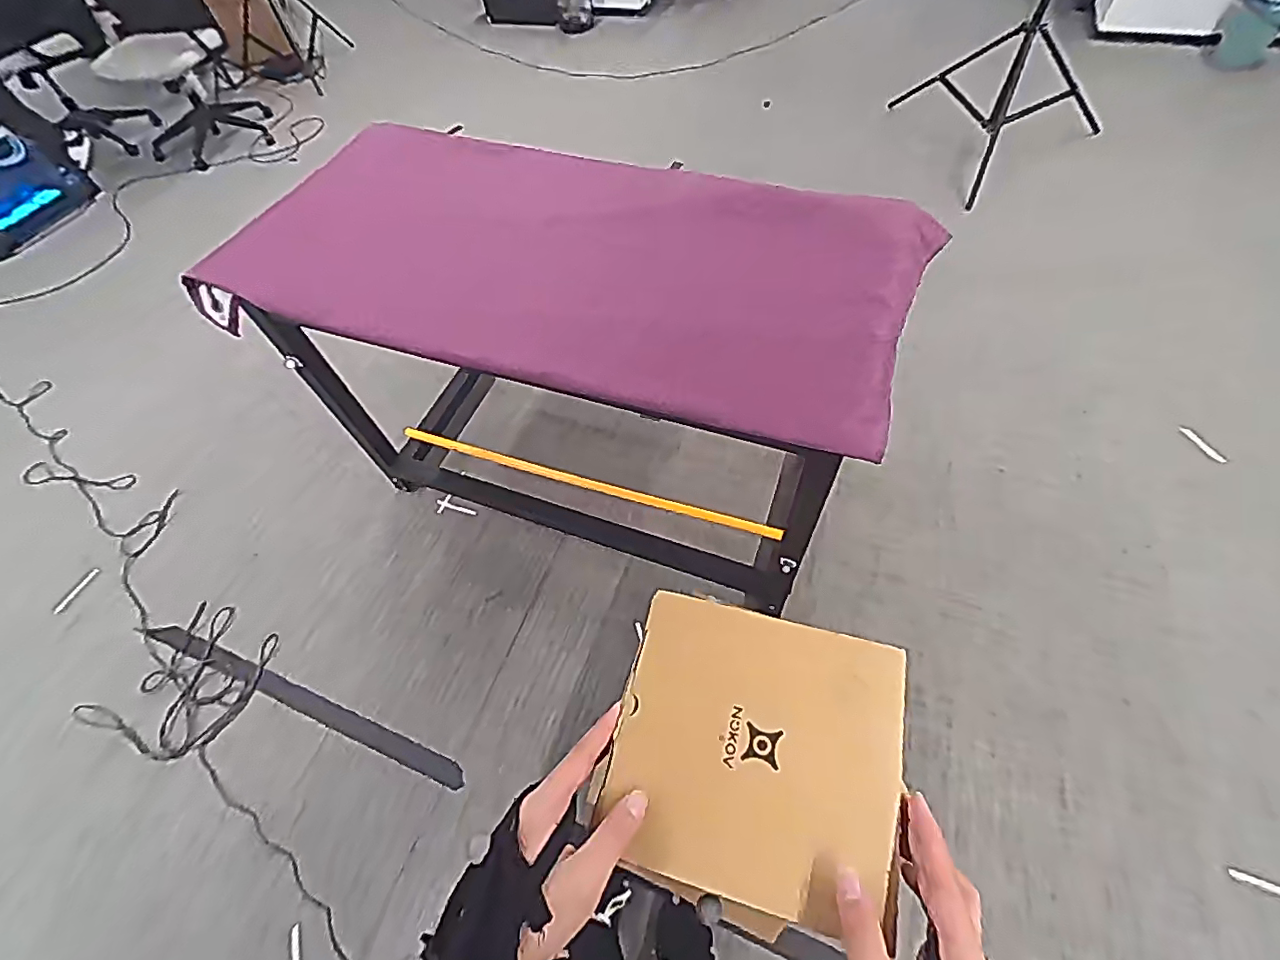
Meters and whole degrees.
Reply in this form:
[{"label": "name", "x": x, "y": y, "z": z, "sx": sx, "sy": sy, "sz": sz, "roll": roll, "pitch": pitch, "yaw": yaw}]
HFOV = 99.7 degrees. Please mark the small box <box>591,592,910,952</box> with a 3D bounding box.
[{"label": "small box", "x": 0.082, "y": 0.206, "z": 0.406, "sx": 0.179, "sy": 0.176, "sz": 0.168, "roll": 11, "pitch": 60, "yaw": 13}]
